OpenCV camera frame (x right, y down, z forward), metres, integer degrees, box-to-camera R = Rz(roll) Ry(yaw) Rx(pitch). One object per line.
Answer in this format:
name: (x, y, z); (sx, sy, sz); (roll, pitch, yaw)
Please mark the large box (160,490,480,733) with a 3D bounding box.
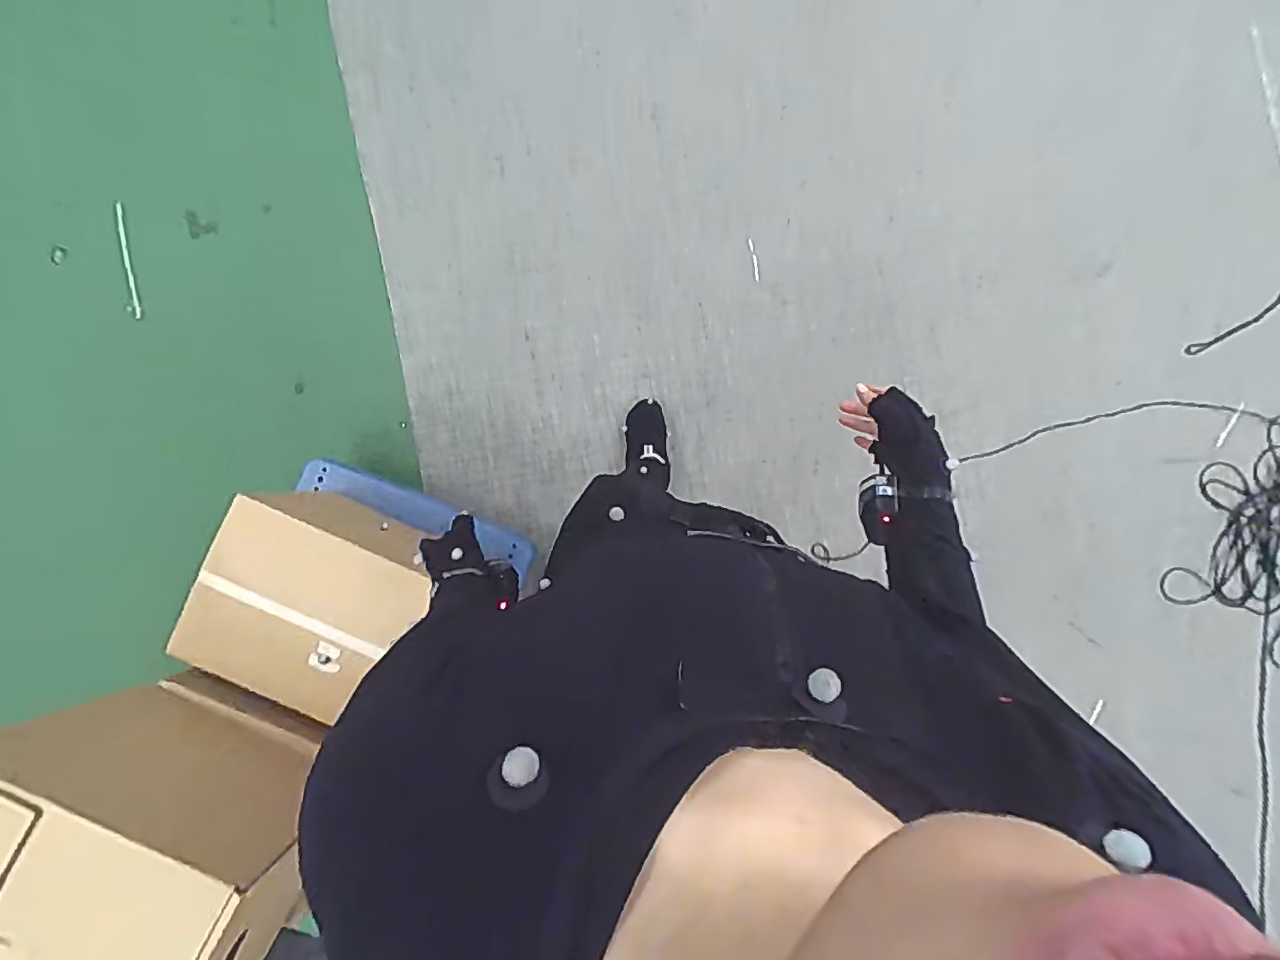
large box: (-0.605, 0.235, 1.100); (0.408, 0.320, 0.320); (25, 89, -2)
